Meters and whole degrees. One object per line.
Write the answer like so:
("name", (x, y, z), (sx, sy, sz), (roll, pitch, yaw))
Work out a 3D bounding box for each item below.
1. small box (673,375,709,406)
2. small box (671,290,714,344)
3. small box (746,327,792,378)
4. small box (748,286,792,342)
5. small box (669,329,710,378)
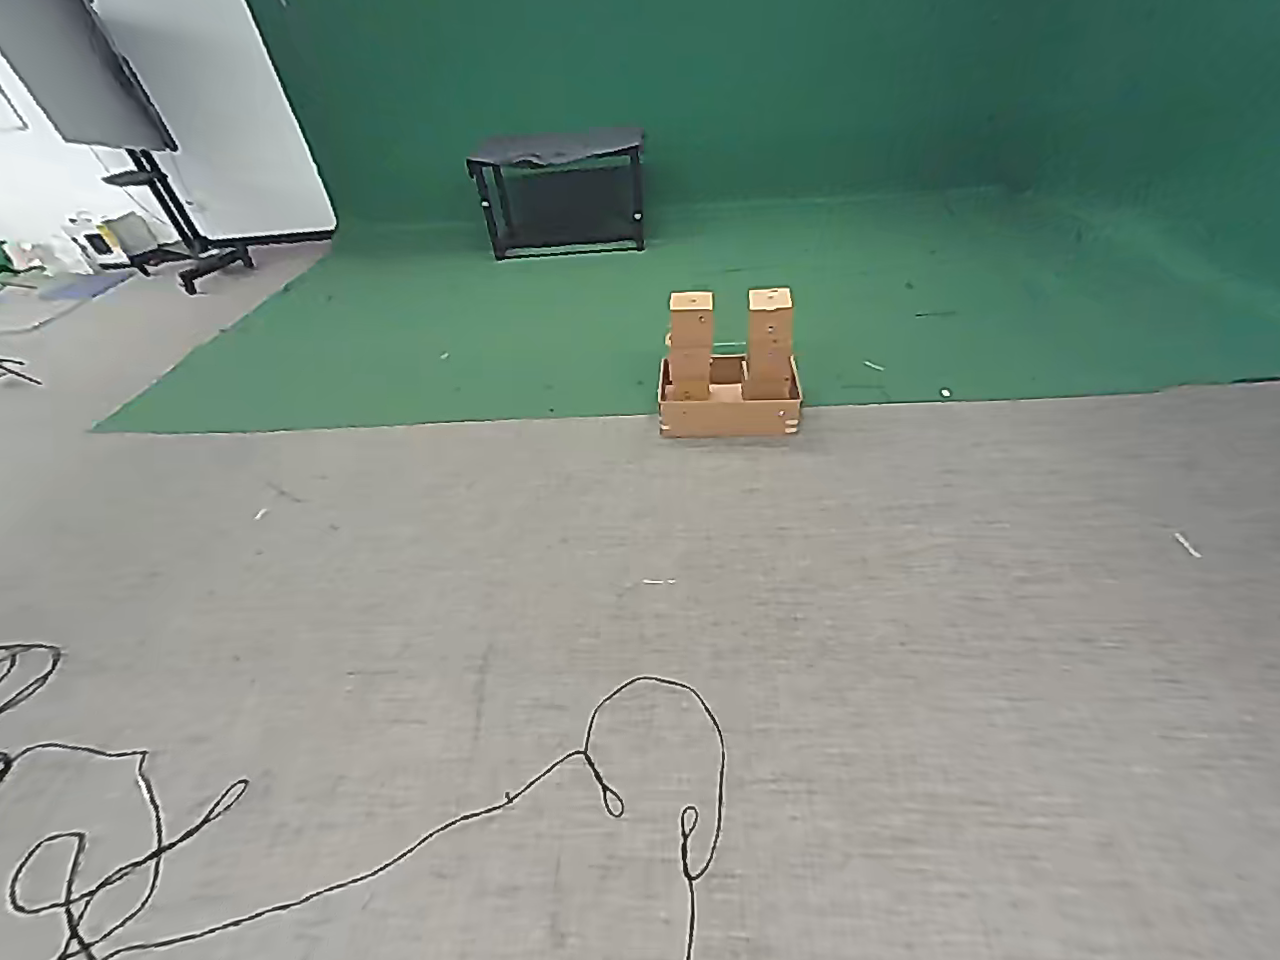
("small box", (0.239, -0.455, 2.516), (0.168, 0.176, 0.179), (0, 44, 5))
("small box", (0.221, -0.686, 2.283), (0.179, 0.176, 0.168), (0, 43, 6))
("small box", (0.557, -0.559, 2.352), (0.179, 0.176, 0.168), (-2, 45, 6))
("small box", (0.538, -0.684, 2.246), (0.168, 0.176, 0.179), (1, 46, 9))
("small box", (0.222, -0.567, 2.398), (0.179, 0.176, 0.168), (1, 44, 5))
